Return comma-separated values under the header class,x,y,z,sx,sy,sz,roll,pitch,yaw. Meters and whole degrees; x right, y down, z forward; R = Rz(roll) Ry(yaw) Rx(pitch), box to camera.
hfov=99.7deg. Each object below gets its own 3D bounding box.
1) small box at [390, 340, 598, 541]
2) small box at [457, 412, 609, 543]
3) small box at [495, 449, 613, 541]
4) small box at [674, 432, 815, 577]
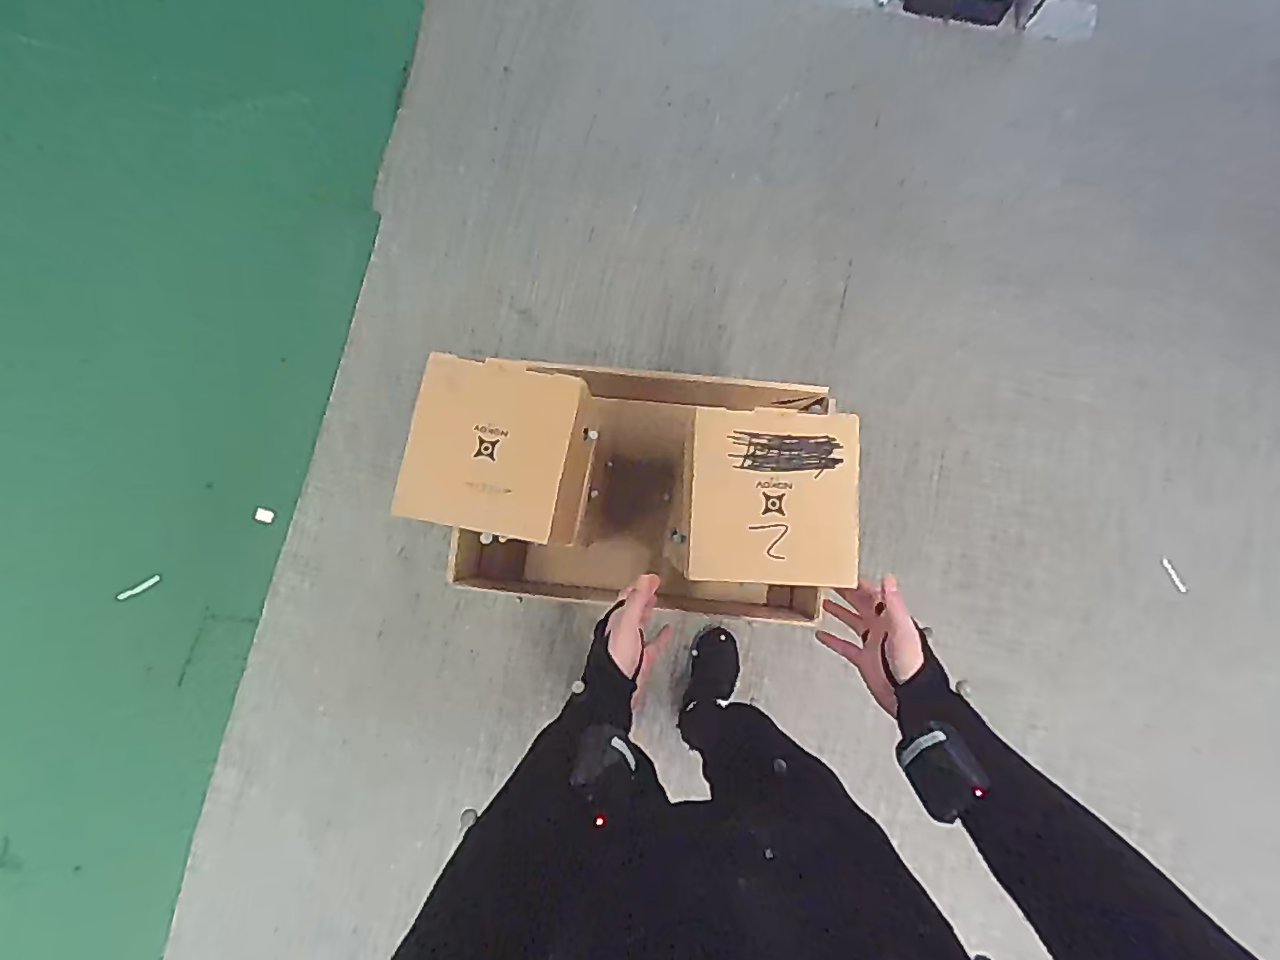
class,x,y,z,sx,sy,sz,roll,pitch,yaw
small box,-0.147,-0.032,0.615,0.168,0.176,0.179,12,84,3
small box,-0.142,-0.008,0.776,0.168,0.176,0.179,10,82,2
small box,-0.140,0.011,0.938,0.168,0.176,0.179,6,83,3
small box,0.138,0.038,0.765,0.168,0.176,0.179,4,84,0
